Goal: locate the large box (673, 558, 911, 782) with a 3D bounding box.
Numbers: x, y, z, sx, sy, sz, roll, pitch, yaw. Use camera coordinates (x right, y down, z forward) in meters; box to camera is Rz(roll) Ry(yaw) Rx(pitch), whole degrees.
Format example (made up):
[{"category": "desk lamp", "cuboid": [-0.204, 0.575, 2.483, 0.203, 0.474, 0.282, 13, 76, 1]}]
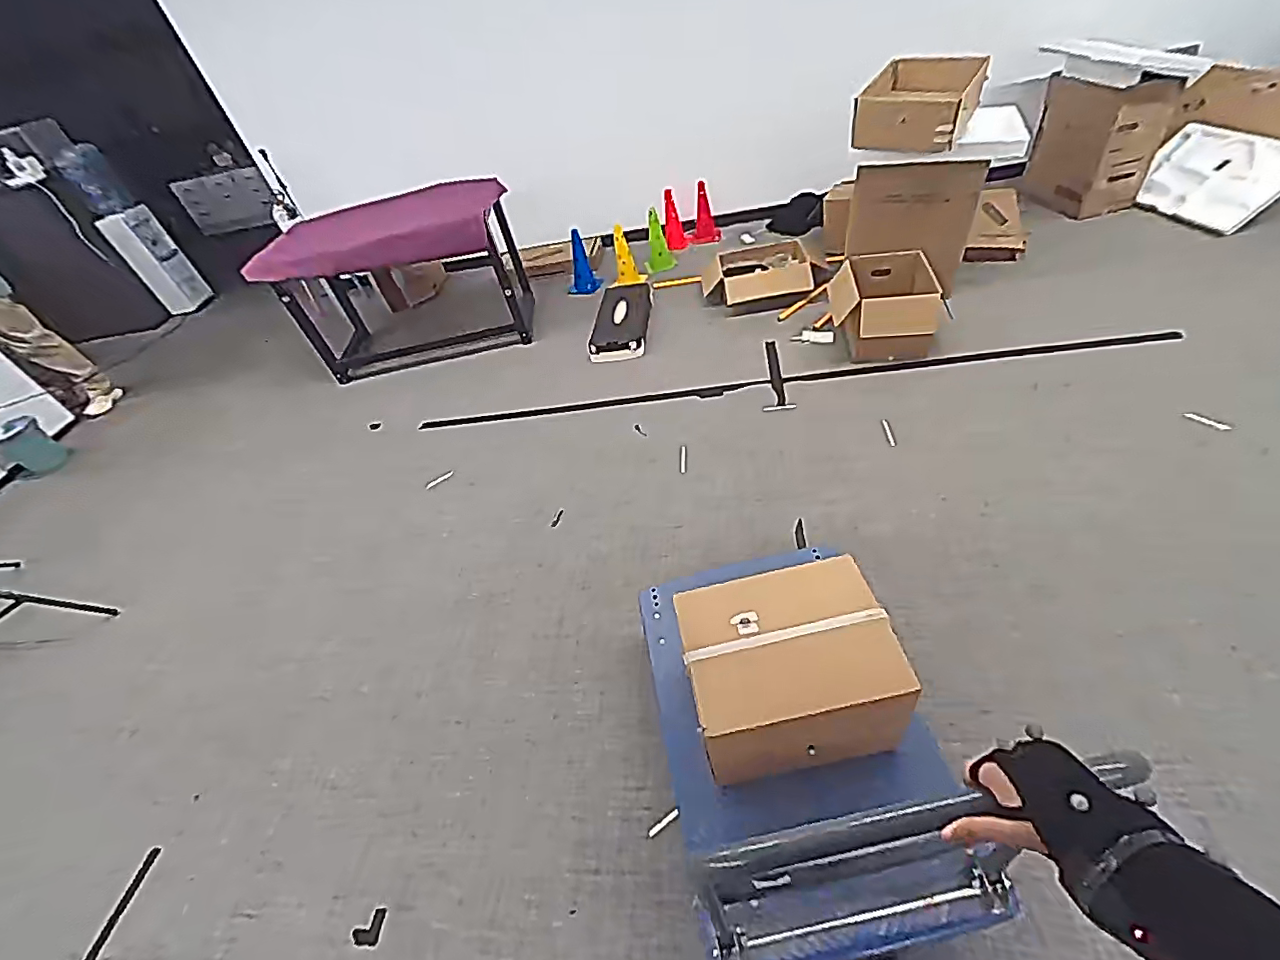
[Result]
[{"category": "large box", "cuboid": [0.318, 0.427, 1.208, 0.408, 0.320, 0.320, -14, 43, 2]}]
